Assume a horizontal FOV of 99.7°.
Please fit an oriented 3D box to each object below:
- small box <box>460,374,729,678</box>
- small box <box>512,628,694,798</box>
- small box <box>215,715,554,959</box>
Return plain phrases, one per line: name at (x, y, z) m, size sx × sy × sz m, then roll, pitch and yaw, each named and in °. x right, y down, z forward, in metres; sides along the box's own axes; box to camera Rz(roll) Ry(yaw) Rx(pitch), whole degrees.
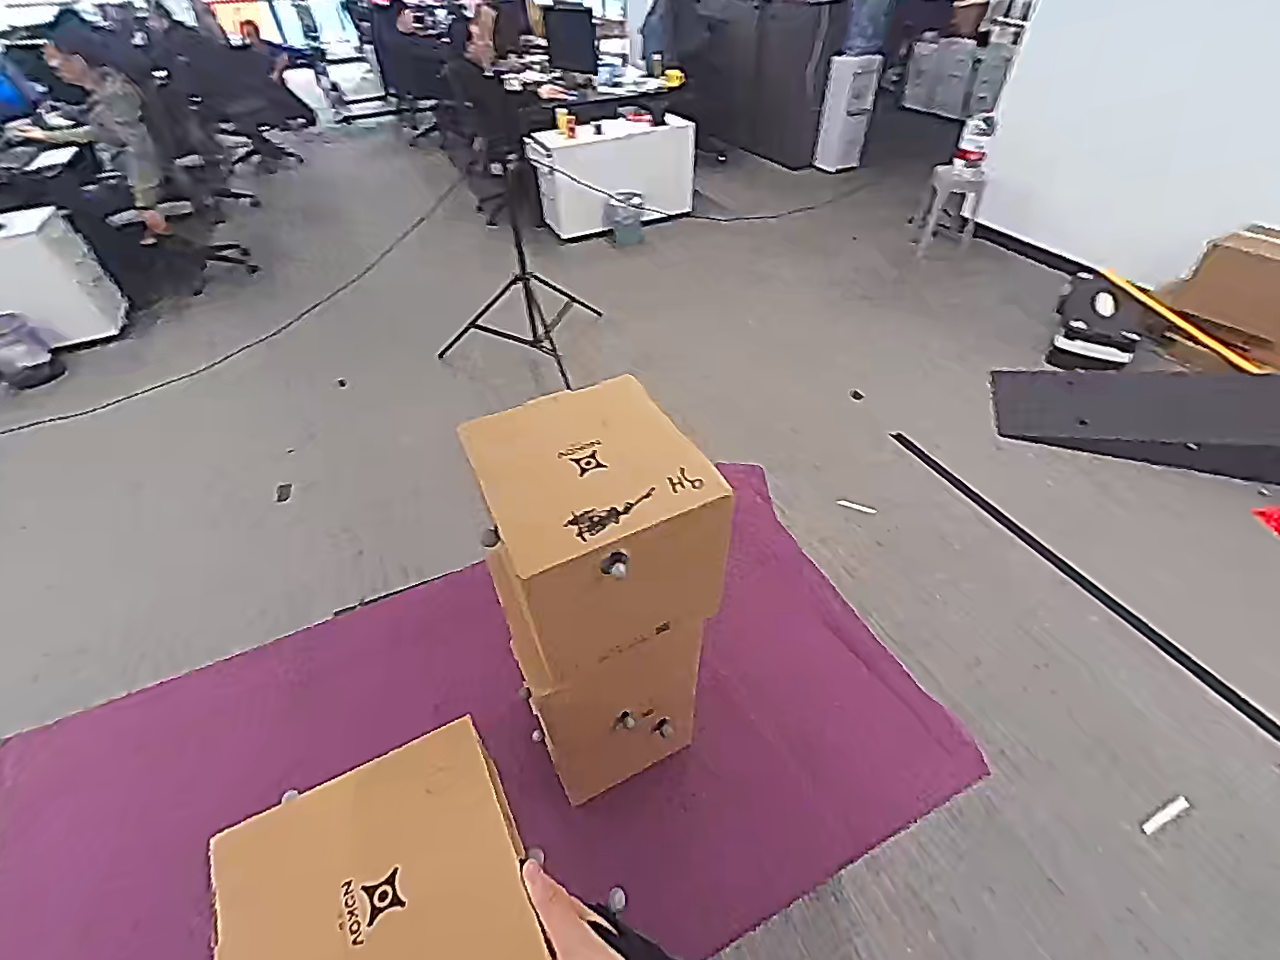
small box at (-0.042, 0.037, 0.481) m, size 0.168 × 0.176 × 0.179 m, roll -21°, pitch 48°, yaw -17°
small box at (-0.047, 0.275, 0.707) m, size 0.179 × 0.176 × 0.168 m, roll -21°, pitch 47°, yaw -17°
small box at (-0.174, 0.311, 0.409) m, size 0.179 × 0.176 × 0.168 m, roll -20°, pitch 58°, yaw -20°
